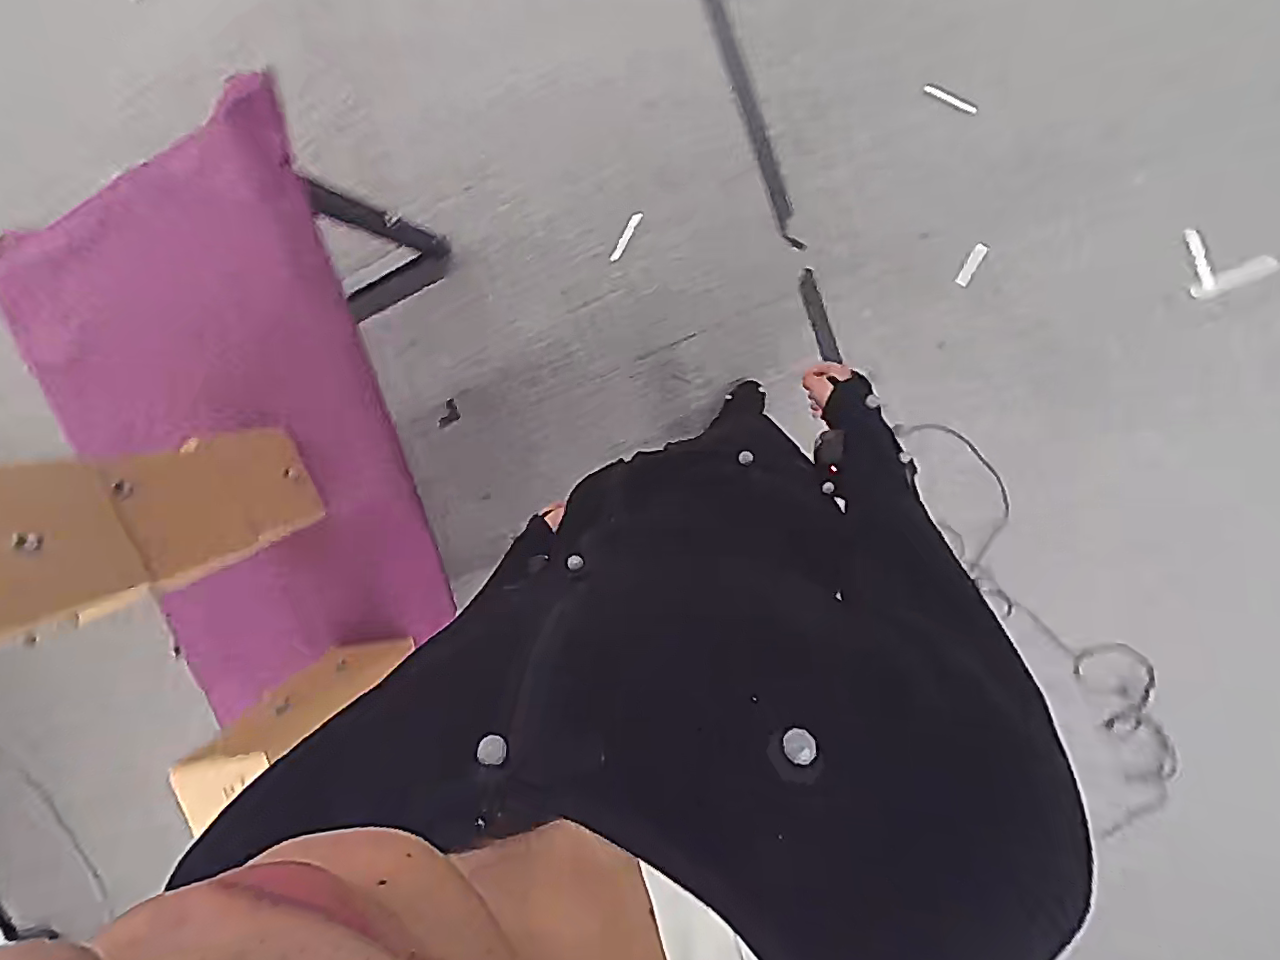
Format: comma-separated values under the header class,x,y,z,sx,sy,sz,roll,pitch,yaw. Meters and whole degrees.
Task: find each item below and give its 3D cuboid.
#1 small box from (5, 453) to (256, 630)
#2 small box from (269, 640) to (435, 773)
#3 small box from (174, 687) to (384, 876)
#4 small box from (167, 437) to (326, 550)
class,x,y,z,sx,sy,sz,roll,pitch,yaw
small box,-0.704,0.078,0.768,0.168,0.176,0.179,-23,96,14
small box,-0.501,0.405,0.964,0.179,0.176,0.168,-11,99,11
small box,-0.517,0.438,0.803,0.168,0.176,0.179,-13,98,11
small box,-0.691,0.033,0.926,0.168,0.176,0.179,-23,95,15
